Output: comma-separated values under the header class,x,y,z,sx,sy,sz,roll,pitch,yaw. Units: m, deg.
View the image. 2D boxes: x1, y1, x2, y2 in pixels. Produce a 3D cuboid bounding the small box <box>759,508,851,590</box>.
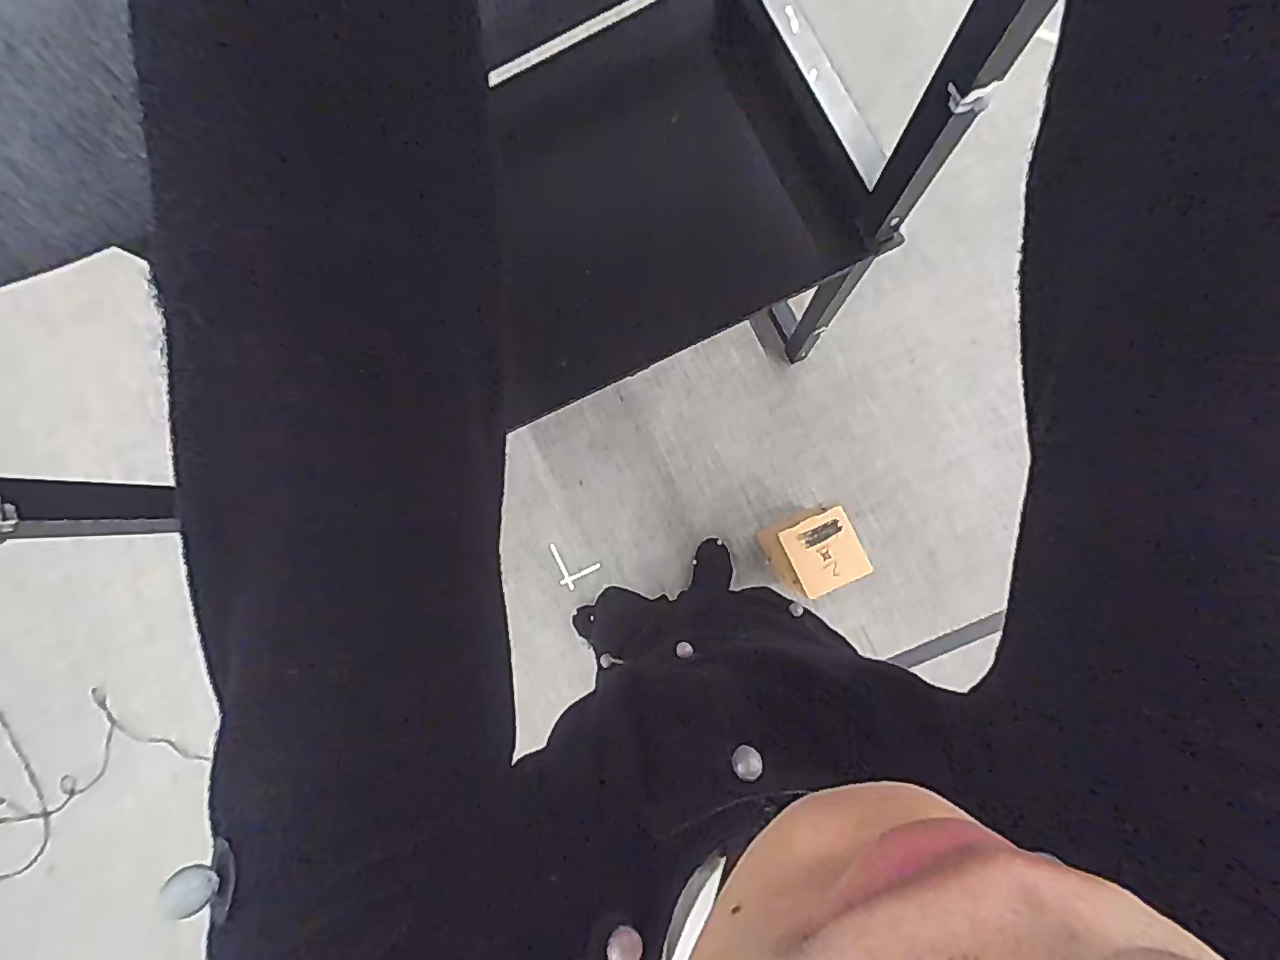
class,x,y,z,sx,sy,sz,roll,pitch,yaw
small box,0.451,0.185,1.509,0.179,0.176,0.168,-27,84,4
